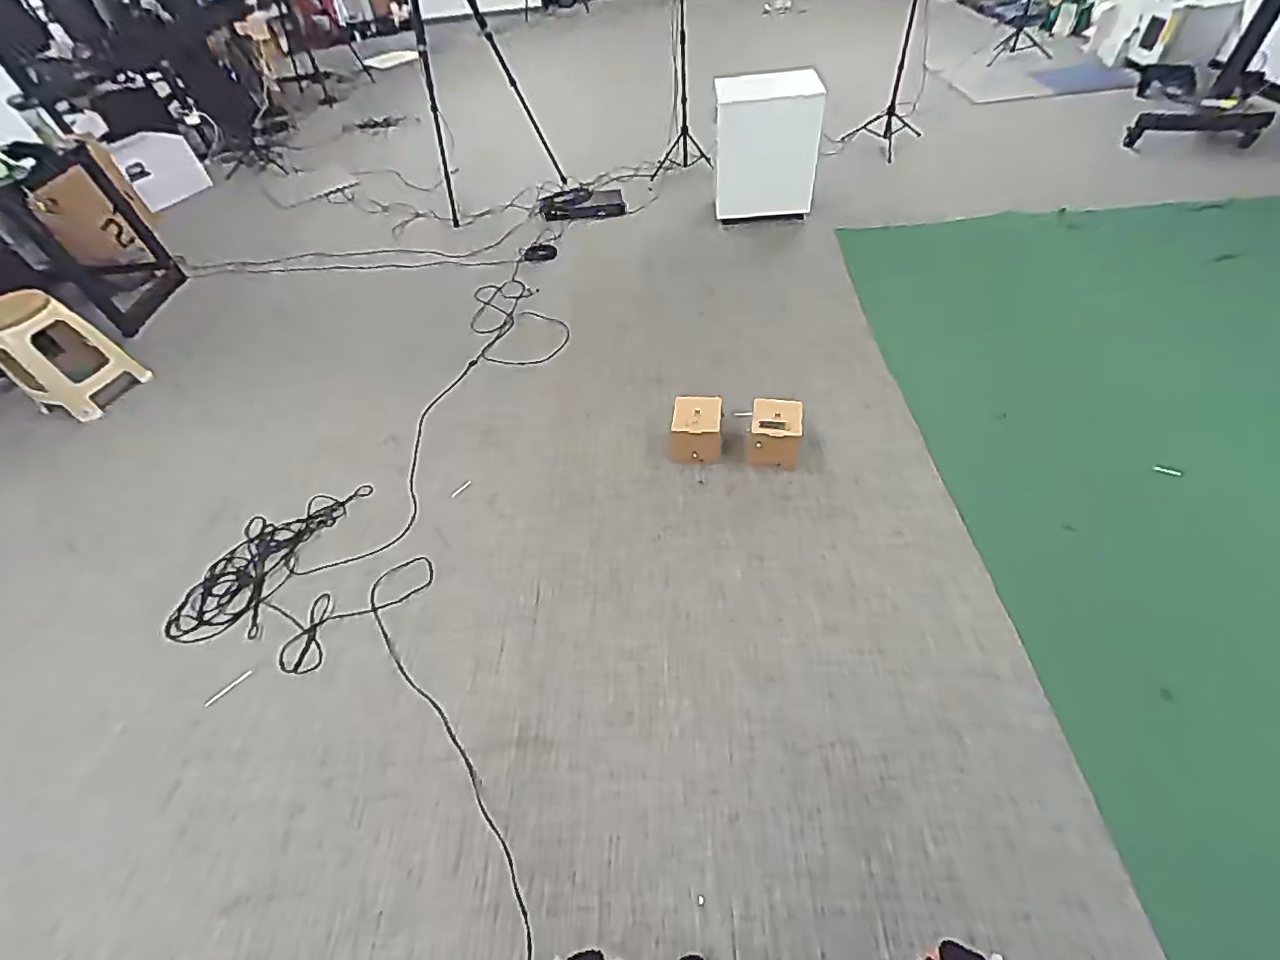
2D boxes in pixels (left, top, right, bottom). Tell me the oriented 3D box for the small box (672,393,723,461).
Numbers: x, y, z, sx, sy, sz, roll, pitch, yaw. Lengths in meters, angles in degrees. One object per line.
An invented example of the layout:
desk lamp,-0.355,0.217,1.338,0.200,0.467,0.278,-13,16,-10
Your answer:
small box,0.209,-0.191,1.938,0.168,0.176,0.179,3,52,10
